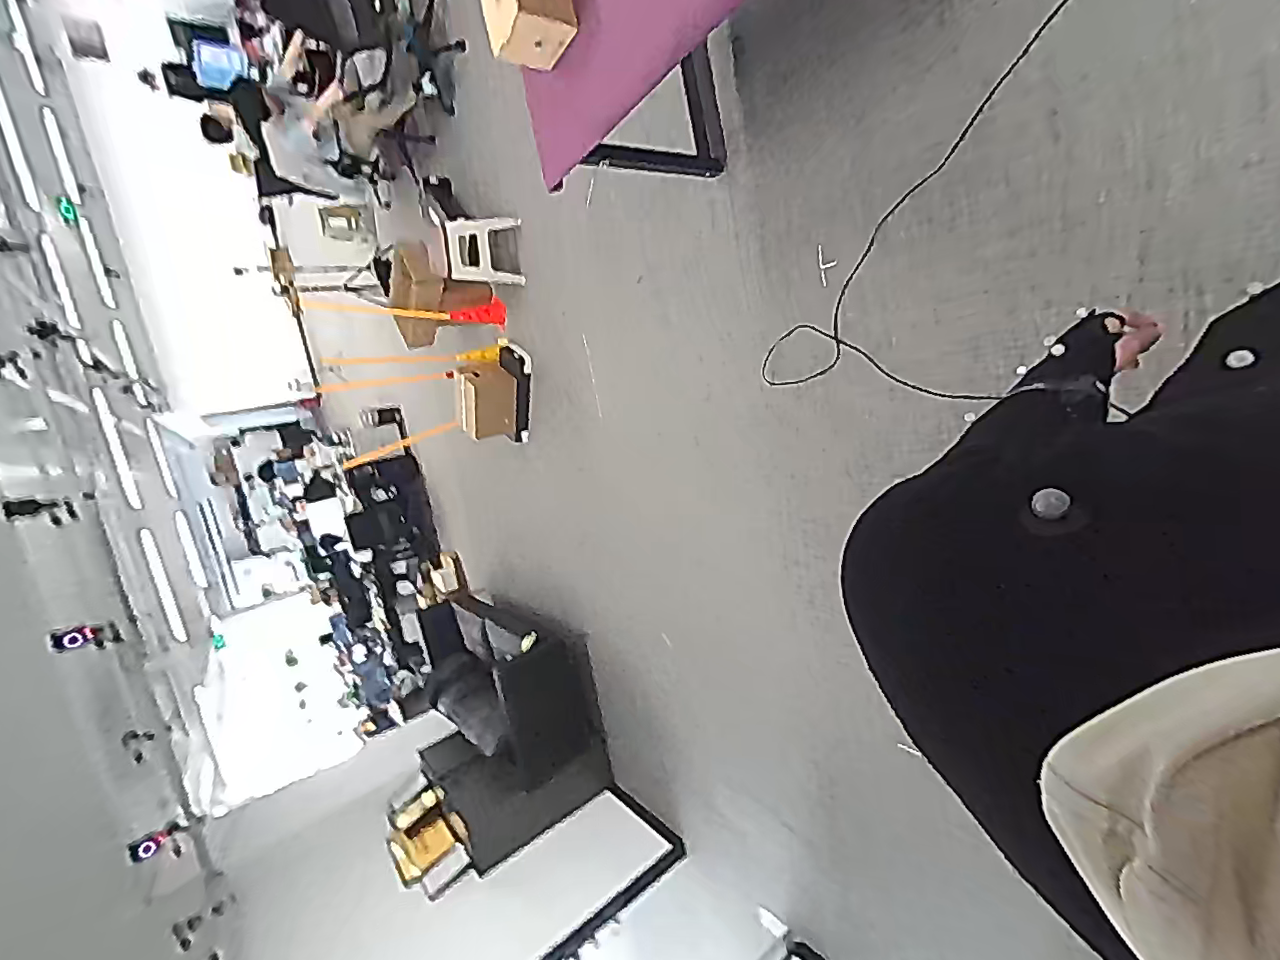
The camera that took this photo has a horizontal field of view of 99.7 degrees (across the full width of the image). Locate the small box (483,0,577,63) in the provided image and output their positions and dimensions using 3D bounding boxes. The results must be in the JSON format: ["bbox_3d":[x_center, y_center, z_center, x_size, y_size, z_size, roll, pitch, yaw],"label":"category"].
[{"bbox_3d":[-0.280,-1.206,1.378,0.168,0.176,0.179,-3,102,54],"label":"small box"}]
